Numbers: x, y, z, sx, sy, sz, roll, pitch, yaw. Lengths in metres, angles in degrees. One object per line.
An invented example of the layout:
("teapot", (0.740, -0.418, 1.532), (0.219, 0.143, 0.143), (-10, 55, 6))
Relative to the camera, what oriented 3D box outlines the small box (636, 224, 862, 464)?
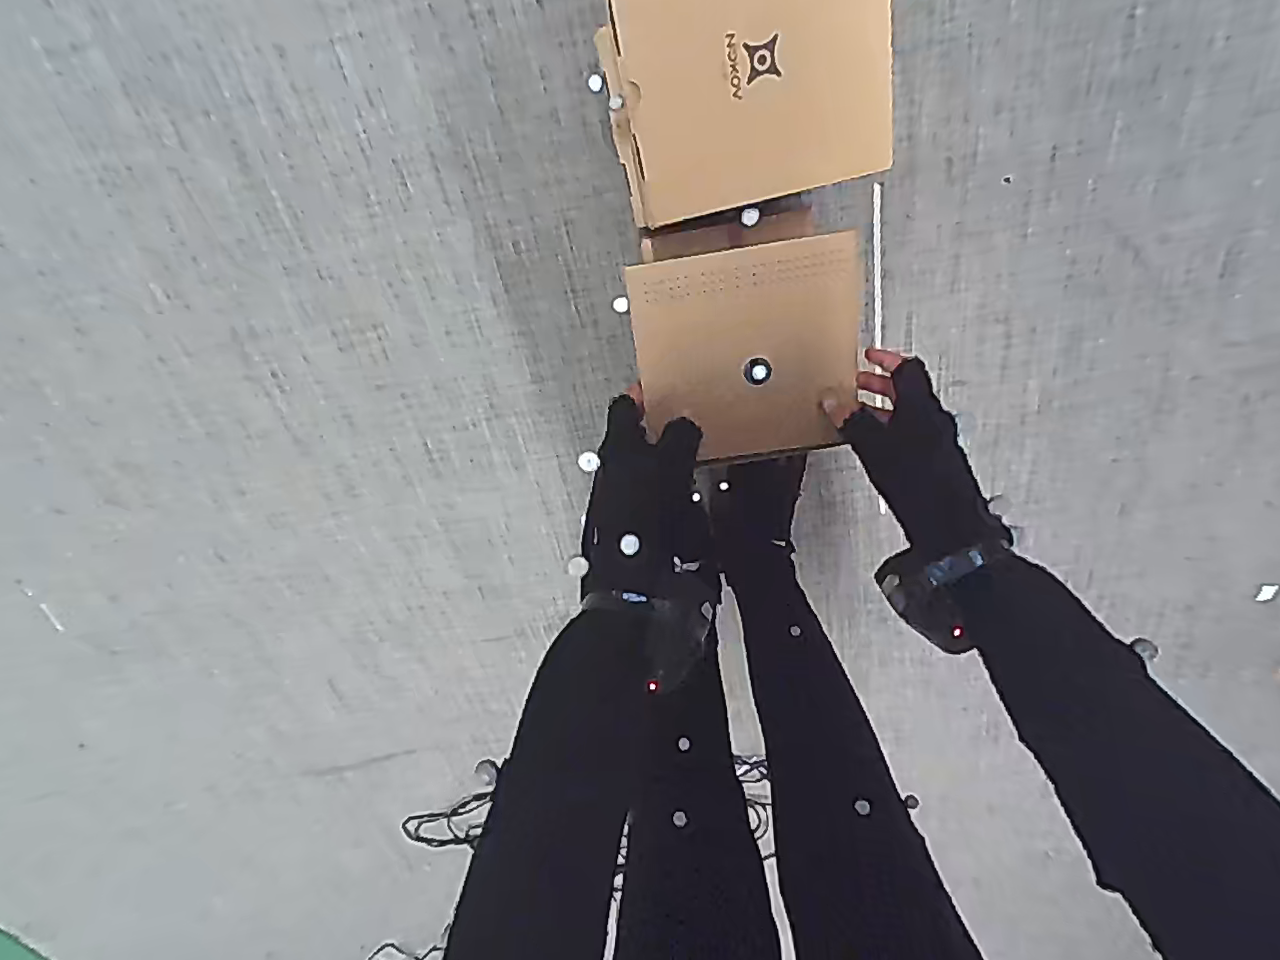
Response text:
("small box", (0.092, -0.128, 0.505), (0.179, 0.168, 0.176), (-8, 111, 6))
